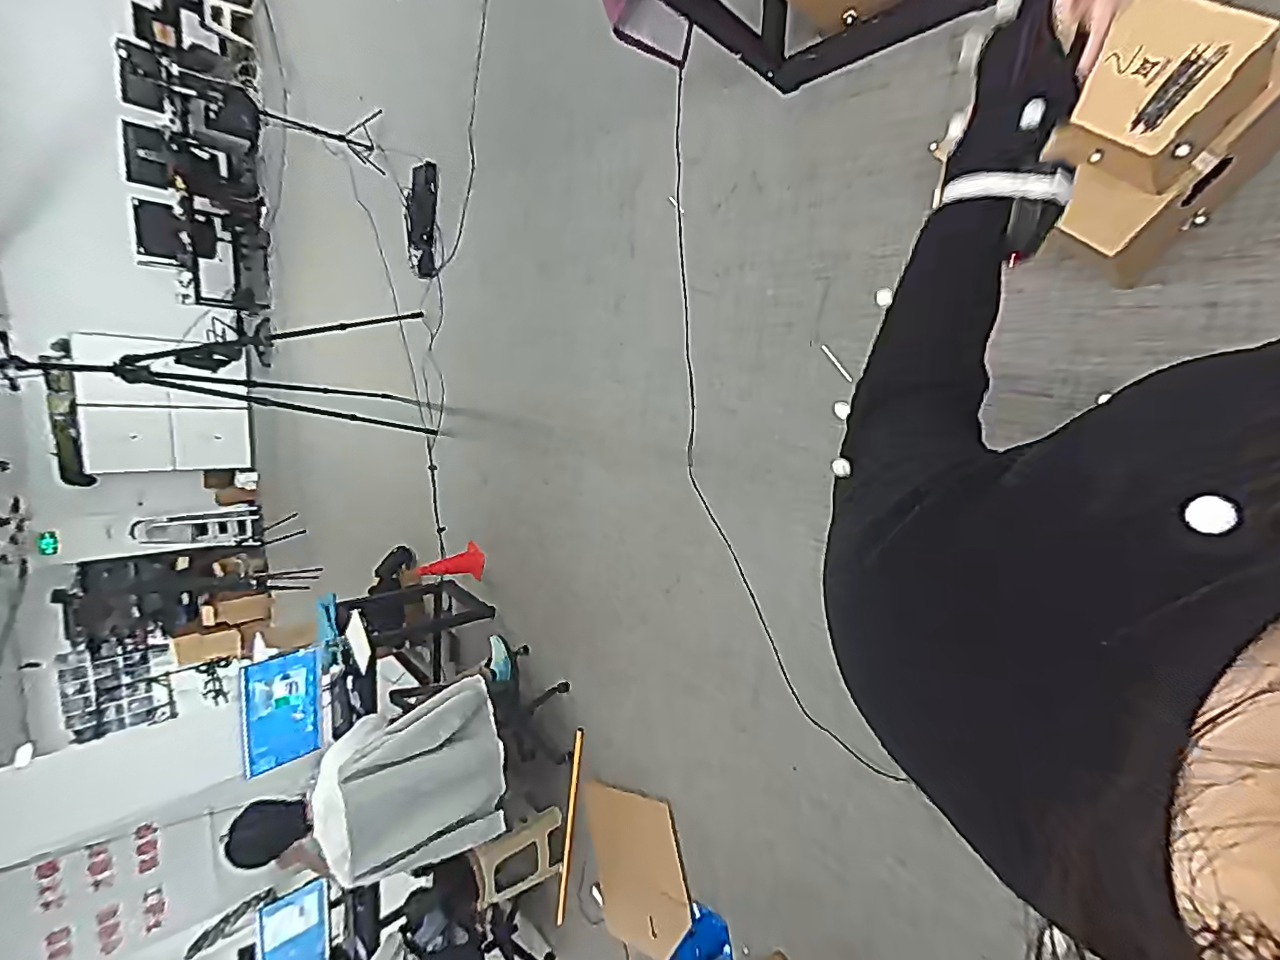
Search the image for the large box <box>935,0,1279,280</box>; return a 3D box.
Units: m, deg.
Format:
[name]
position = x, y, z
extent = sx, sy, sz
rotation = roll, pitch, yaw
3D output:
[large box]
position = 0.883, -0.641, 1.032
extent = 0.408, 0.320, 0.320
rotation = 55, 128, 28
